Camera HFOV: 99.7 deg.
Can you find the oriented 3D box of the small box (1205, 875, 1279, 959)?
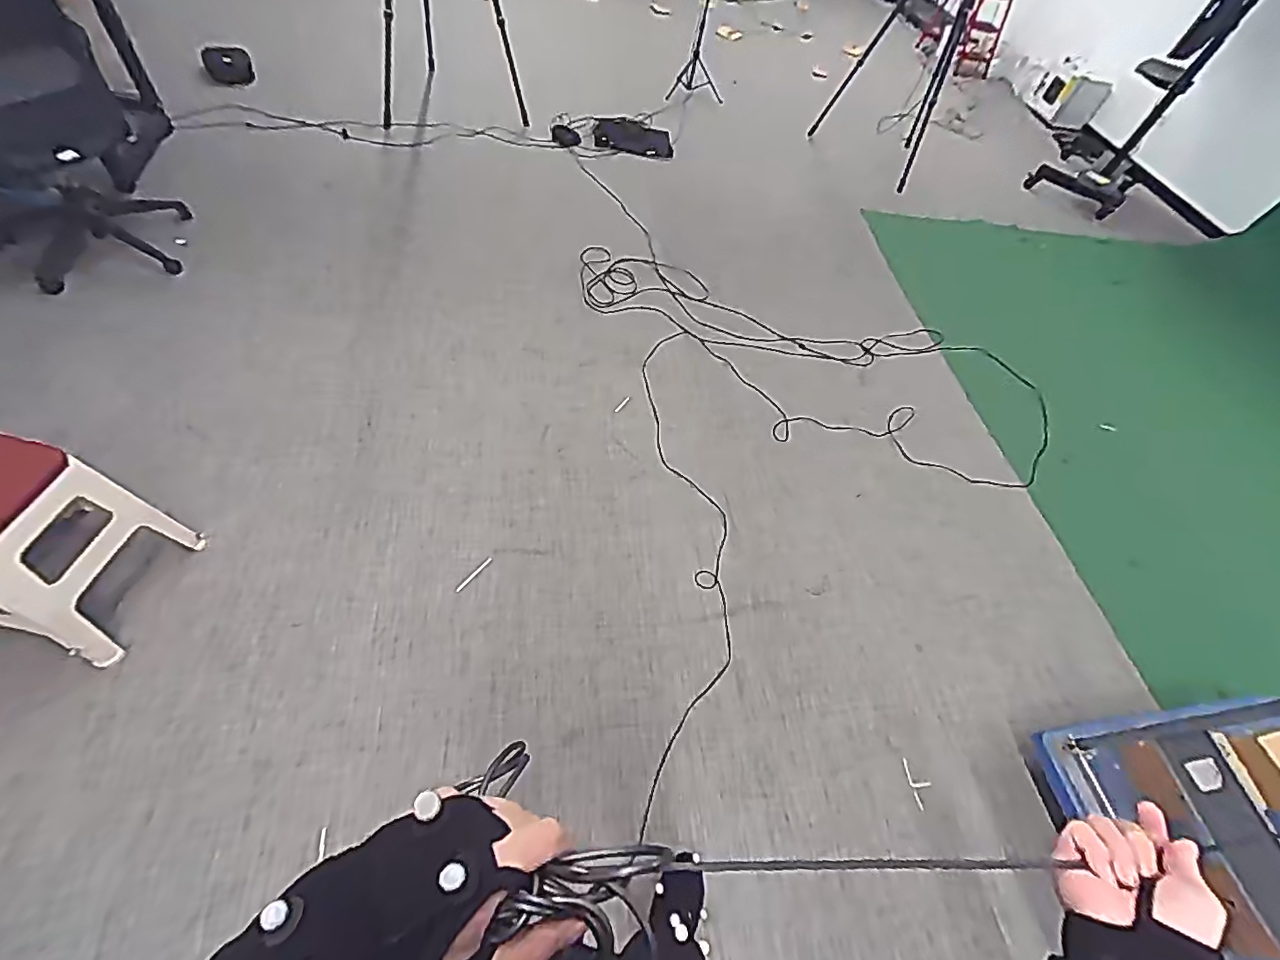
[{"bbox_3d":[1.471,1.008,1.224,0.179,0.176,0.168,-1,55,-11],"label":"small box"}]

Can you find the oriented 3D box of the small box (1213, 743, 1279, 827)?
[{"bbox_3d":[1.682,0.796,1.416,0.179,0.176,0.168,-5,57,-14],"label":"small box"}]
